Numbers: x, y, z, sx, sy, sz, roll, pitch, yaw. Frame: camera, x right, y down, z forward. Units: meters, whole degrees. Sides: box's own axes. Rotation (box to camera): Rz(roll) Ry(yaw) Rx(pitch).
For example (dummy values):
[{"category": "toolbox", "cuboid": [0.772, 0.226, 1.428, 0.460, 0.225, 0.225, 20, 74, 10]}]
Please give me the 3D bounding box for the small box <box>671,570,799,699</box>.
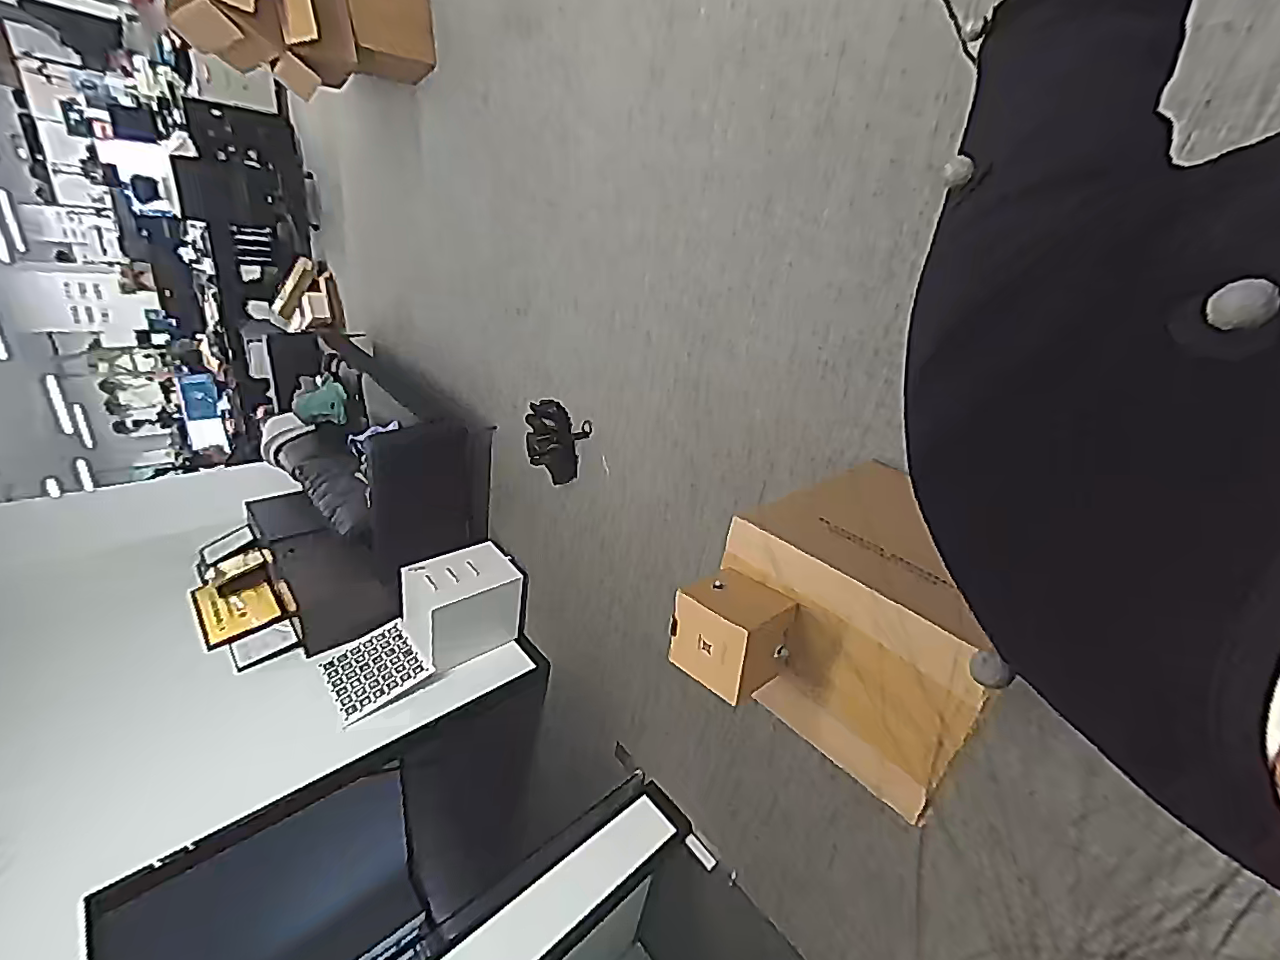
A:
[{"category": "small box", "cuboid": [0.188, 0.295, 1.083, 0.179, 0.176, 0.168, 22, 115, 42]}]
